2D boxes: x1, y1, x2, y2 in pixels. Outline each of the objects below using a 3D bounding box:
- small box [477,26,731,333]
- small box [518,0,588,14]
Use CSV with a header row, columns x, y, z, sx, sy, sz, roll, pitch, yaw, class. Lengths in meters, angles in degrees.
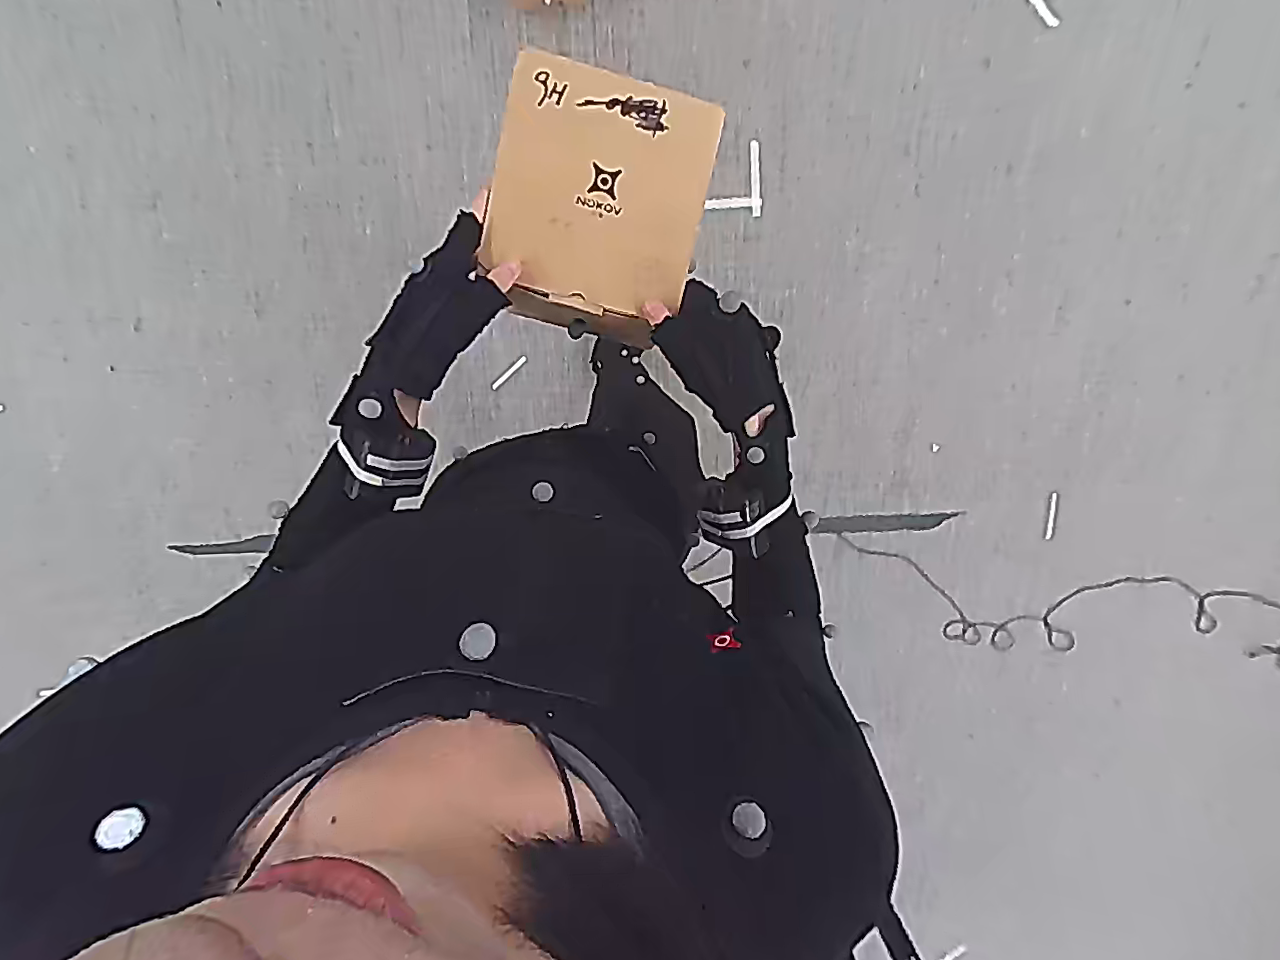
x,y,z,sx,sy,sz,roll,pitch,yaw,class
-0.033,-0.242,0.491,0.168,0.176,0.179,13,97,-7,small box
-0.202,-1.162,1.170,0.168,0.176,0.179,-4,103,-2,small box
